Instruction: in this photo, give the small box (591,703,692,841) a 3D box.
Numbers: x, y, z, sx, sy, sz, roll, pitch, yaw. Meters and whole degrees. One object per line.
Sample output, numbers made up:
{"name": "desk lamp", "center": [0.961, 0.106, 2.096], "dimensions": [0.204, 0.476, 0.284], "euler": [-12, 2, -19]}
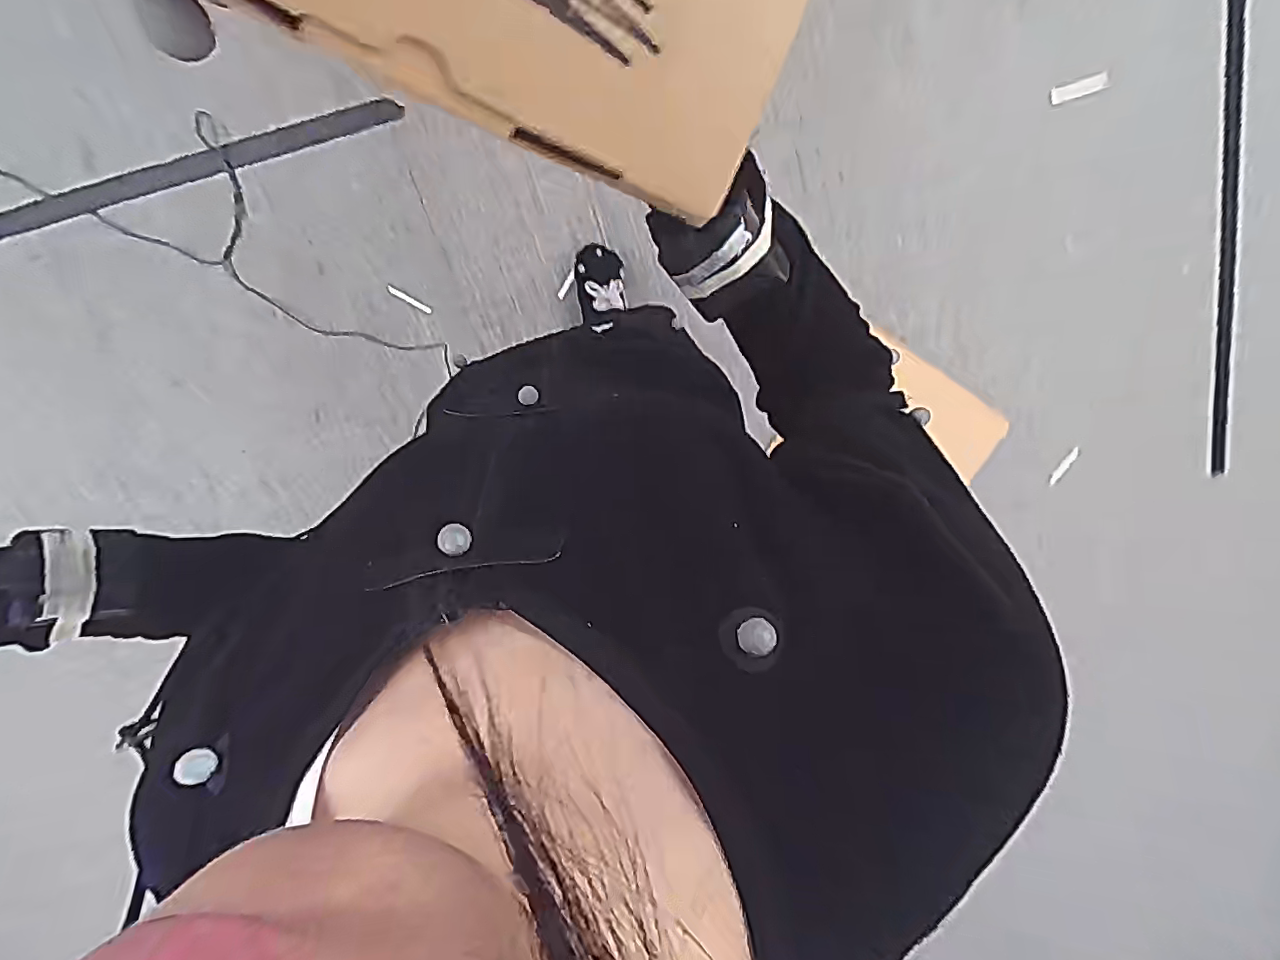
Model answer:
{"name": "small box", "center": [-0.004, 0.591, 1.120], "dimensions": [0.168, 0.176, 0.179], "euler": [-15, 106, -1]}
